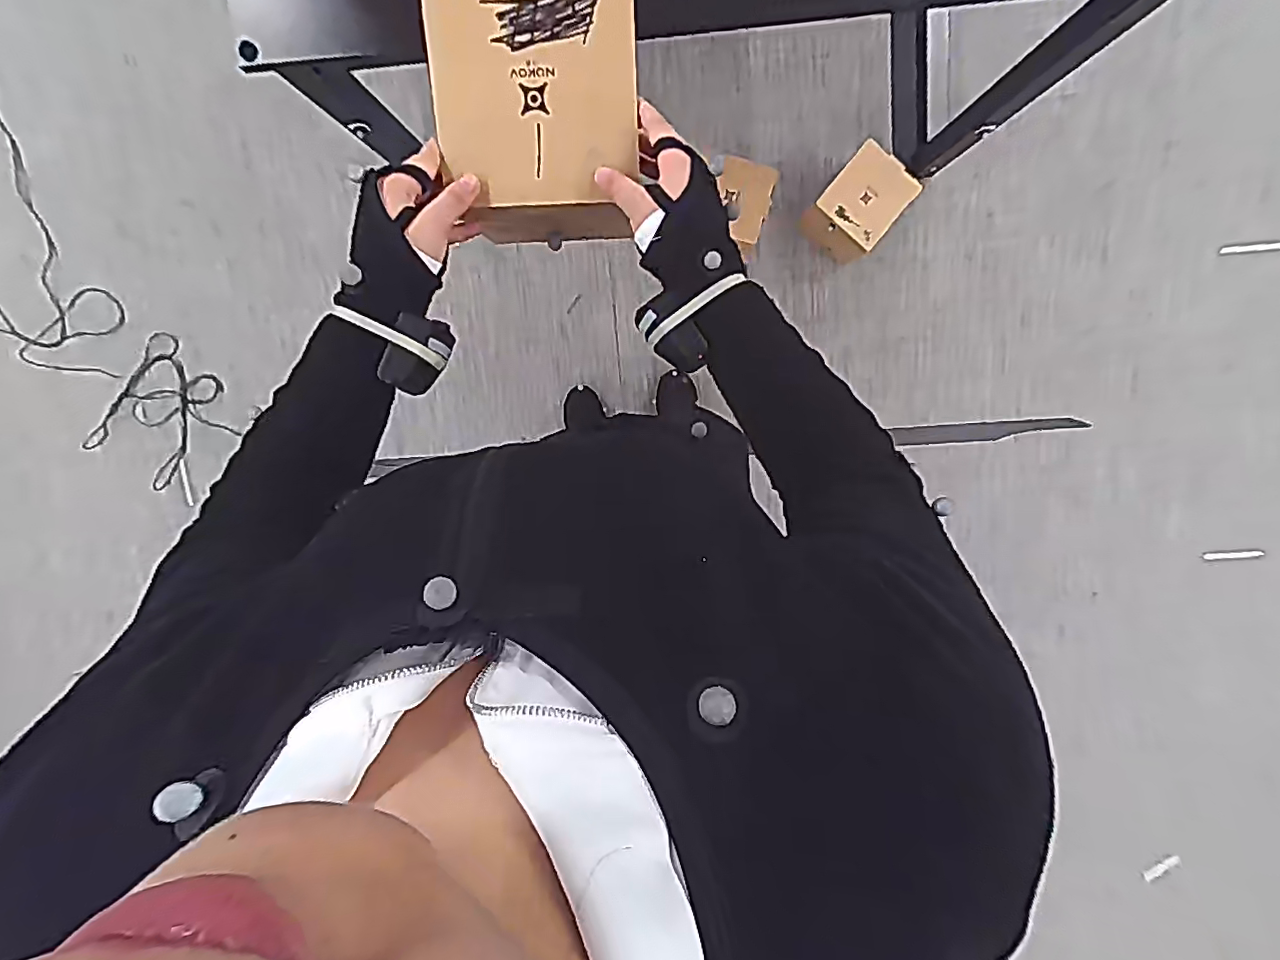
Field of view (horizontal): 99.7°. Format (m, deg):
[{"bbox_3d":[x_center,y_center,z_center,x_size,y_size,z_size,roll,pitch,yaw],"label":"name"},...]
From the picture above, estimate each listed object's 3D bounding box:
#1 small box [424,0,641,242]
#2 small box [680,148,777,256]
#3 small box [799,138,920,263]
[{"bbox_3d":[-0.086,-0.334,0.509,0.168,0.176,0.179,-2,105,-1],"label":"small box"},{"bbox_3d":[0.202,-0.650,1.289,0.179,0.176,0.168,17,100,0],"label":"small box"},{"bbox_3d":[0.506,-0.648,1.276,0.168,0.176,0.179,39,100,-5],"label":"small box"}]
